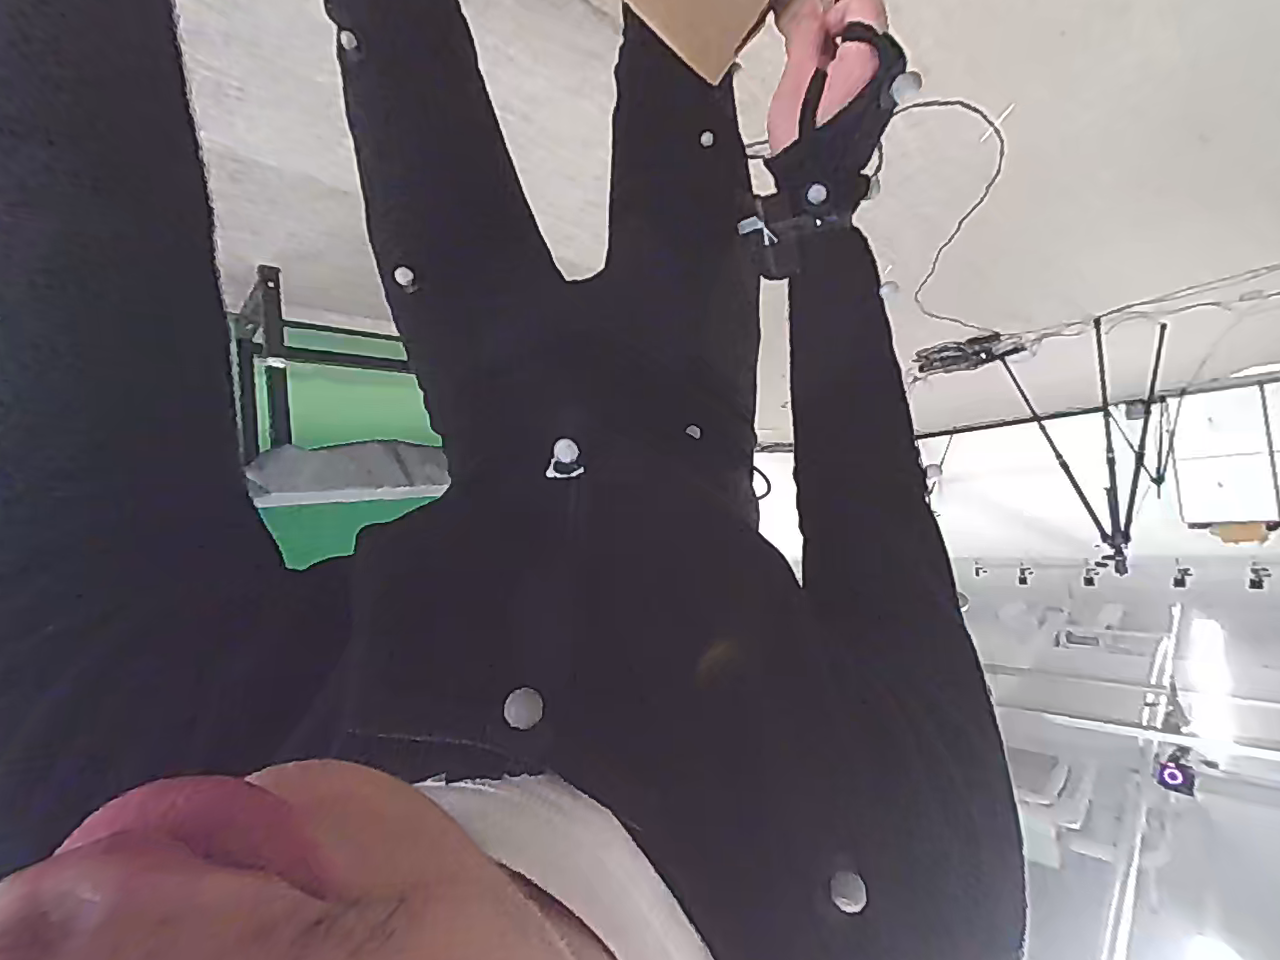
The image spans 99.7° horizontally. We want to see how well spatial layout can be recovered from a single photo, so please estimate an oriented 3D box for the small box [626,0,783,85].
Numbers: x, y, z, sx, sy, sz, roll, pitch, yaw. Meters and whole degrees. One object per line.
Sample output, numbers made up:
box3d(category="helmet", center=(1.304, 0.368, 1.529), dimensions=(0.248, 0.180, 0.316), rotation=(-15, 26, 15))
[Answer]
box3d(category="small box", center=(0.065, -0.431, 0.354), dimensions=(0.179, 0.176, 0.168), rotation=(36, 162, -15))
